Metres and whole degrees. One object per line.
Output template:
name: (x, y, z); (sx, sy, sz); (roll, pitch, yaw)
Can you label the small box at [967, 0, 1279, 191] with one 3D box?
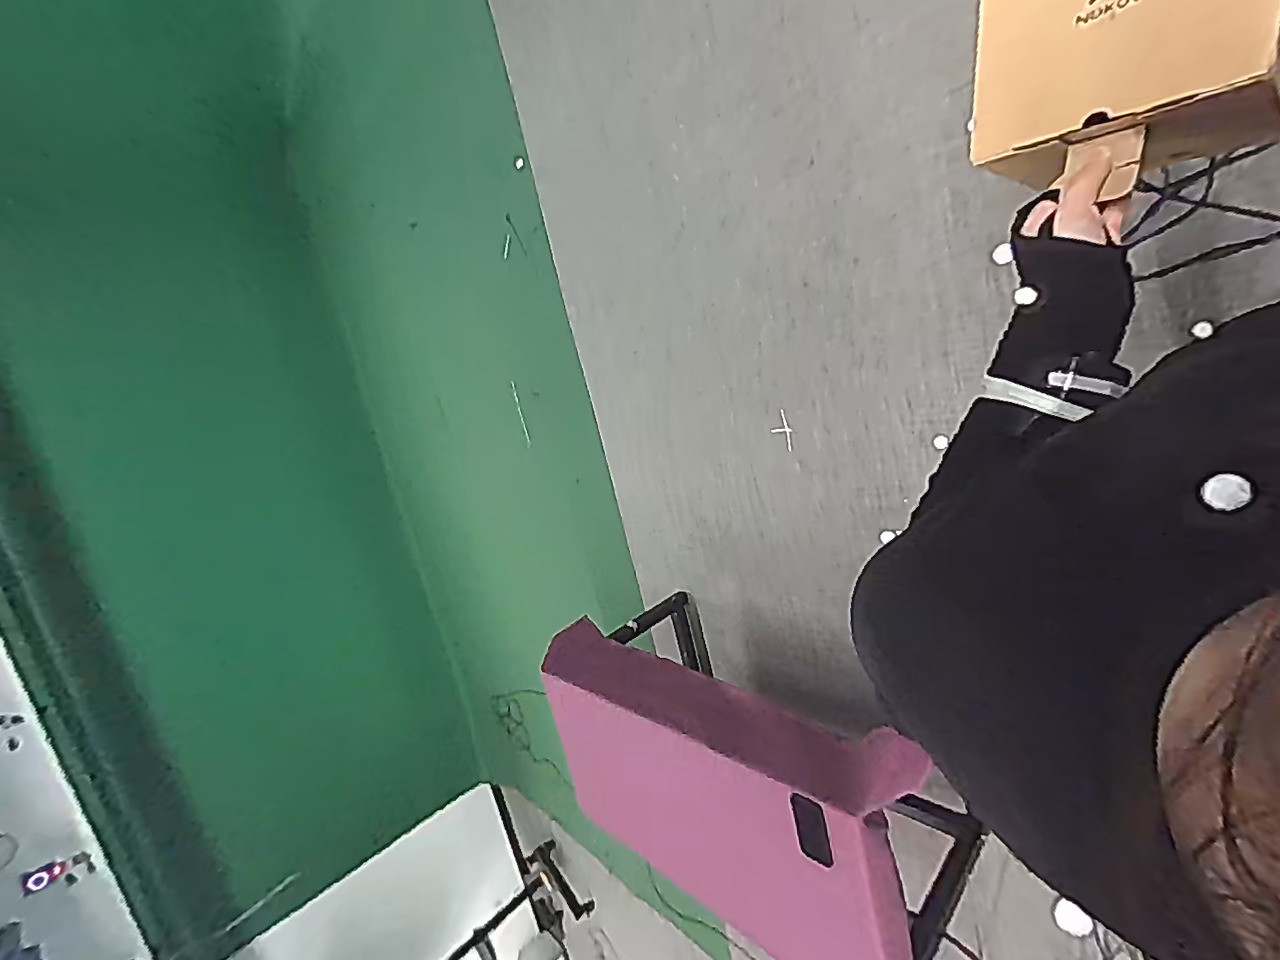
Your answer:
small box: (0.386, -0.352, 0.425); (0.168, 0.176, 0.179); (12, 110, 52)
